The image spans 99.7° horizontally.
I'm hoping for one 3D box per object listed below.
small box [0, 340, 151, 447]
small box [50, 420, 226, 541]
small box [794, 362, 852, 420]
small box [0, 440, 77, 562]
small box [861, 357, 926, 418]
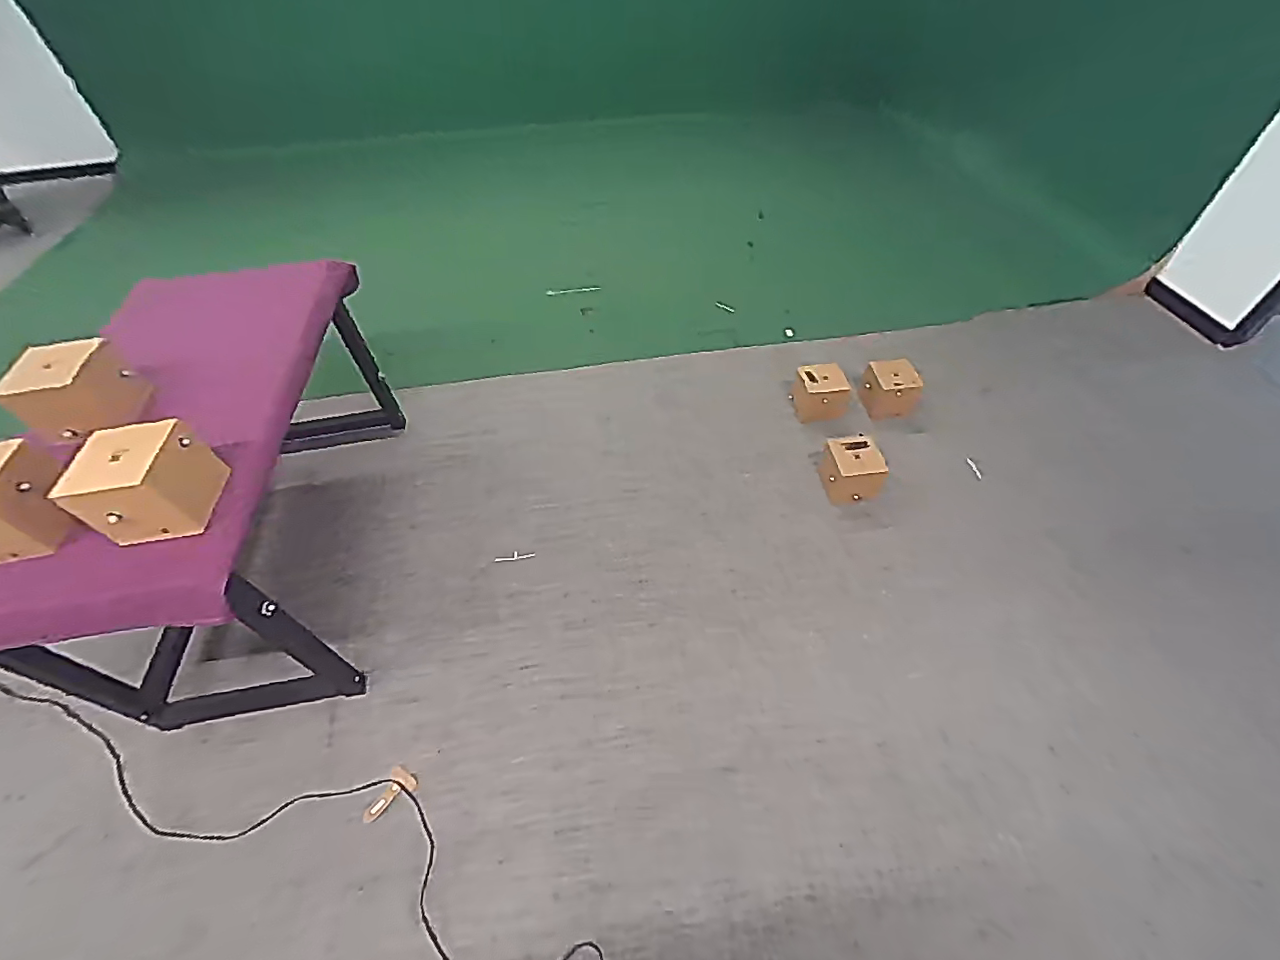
[{"bbox_3d":[-1.327,-0.203,1.284,0.168,0.176,0.179,-10,51,-4],"label":"small box"},{"bbox_3d":[-0.986,0.009,1.087,0.168,0.176,0.179,-9,50,-2],"label":"small box"},{"bbox_3d":[0.740,-0.360,2.215,0.179,0.176,0.168,-7,51,-2],"label":"small box"},{"bbox_3d":[-1.273,0.051,1.069,0.168,0.176,0.179,-11,51,-6],"label":"small box"},{"bbox_3d":[1.030,-0.378,2.213,0.168,0.176,0.179,-6,50,-1],"label":"small box"}]
